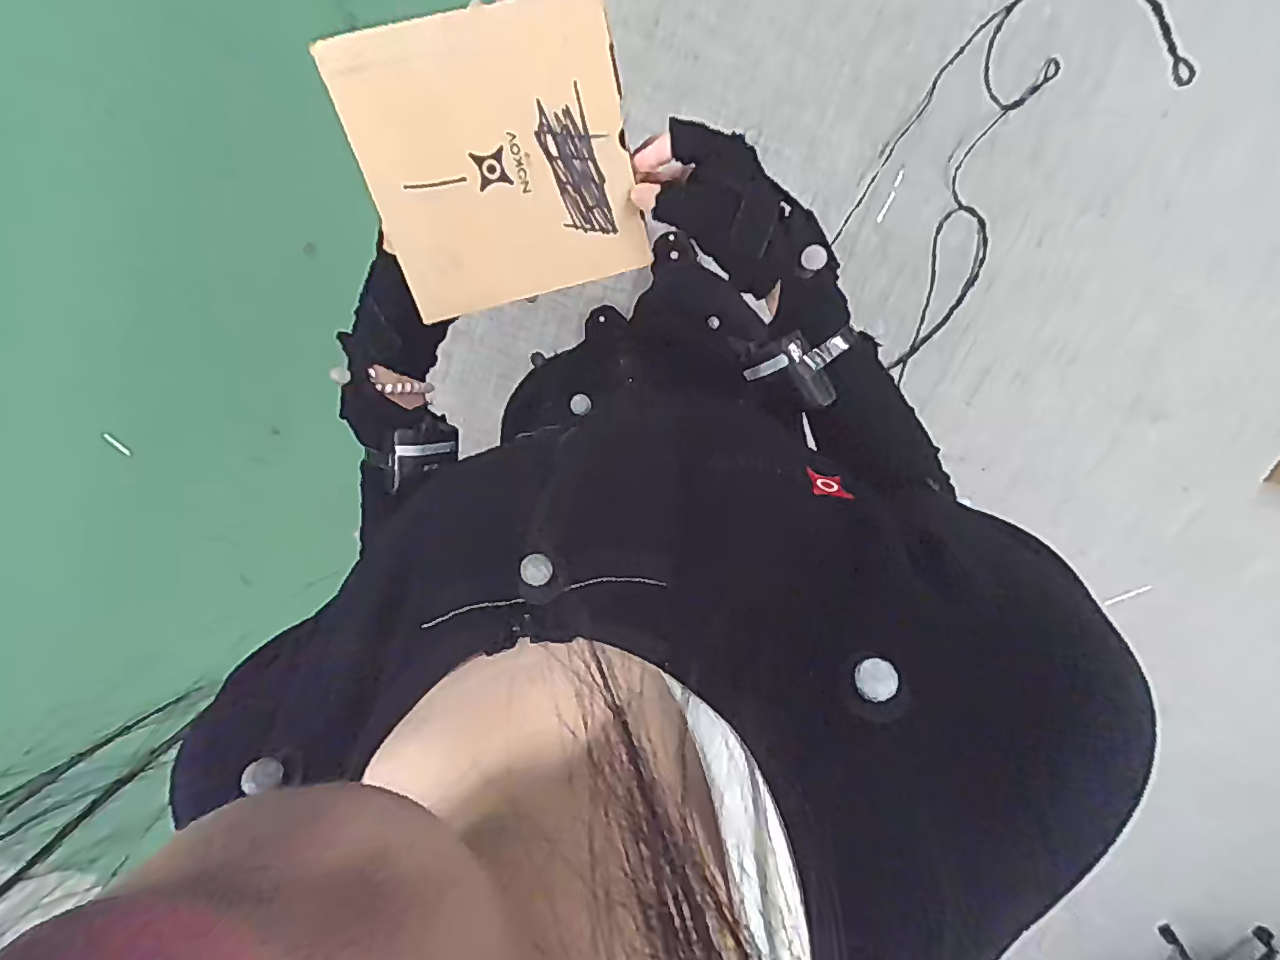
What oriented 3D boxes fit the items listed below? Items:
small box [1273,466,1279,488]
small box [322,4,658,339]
[{"bbox_3d":[1.864,-0.015,1.428,0.168,0.176,0.179,19,107,-6],"label":"small box"},{"bbox_3d":[-0.102,-0.229,0.422,0.179,0.176,0.168,-17,120,-5],"label":"small box"}]
